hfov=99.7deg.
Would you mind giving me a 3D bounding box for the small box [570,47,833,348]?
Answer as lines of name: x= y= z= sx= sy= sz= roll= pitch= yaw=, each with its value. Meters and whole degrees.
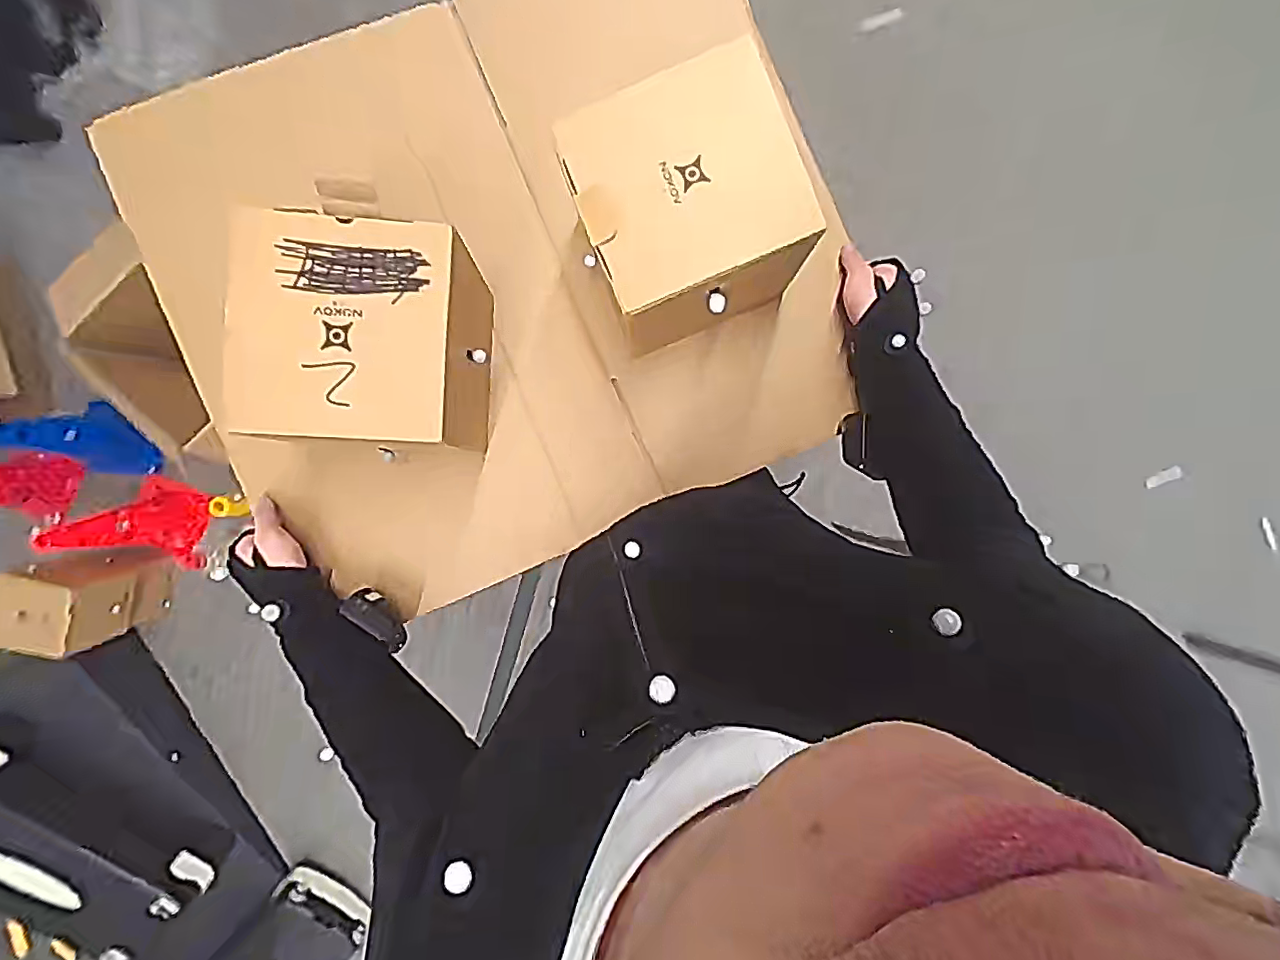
small box: x=0.053 y=-0.246 z=0.520 sx=0.179 sy=0.176 sz=0.168 roll=-22 pitch=90 yaw=4
